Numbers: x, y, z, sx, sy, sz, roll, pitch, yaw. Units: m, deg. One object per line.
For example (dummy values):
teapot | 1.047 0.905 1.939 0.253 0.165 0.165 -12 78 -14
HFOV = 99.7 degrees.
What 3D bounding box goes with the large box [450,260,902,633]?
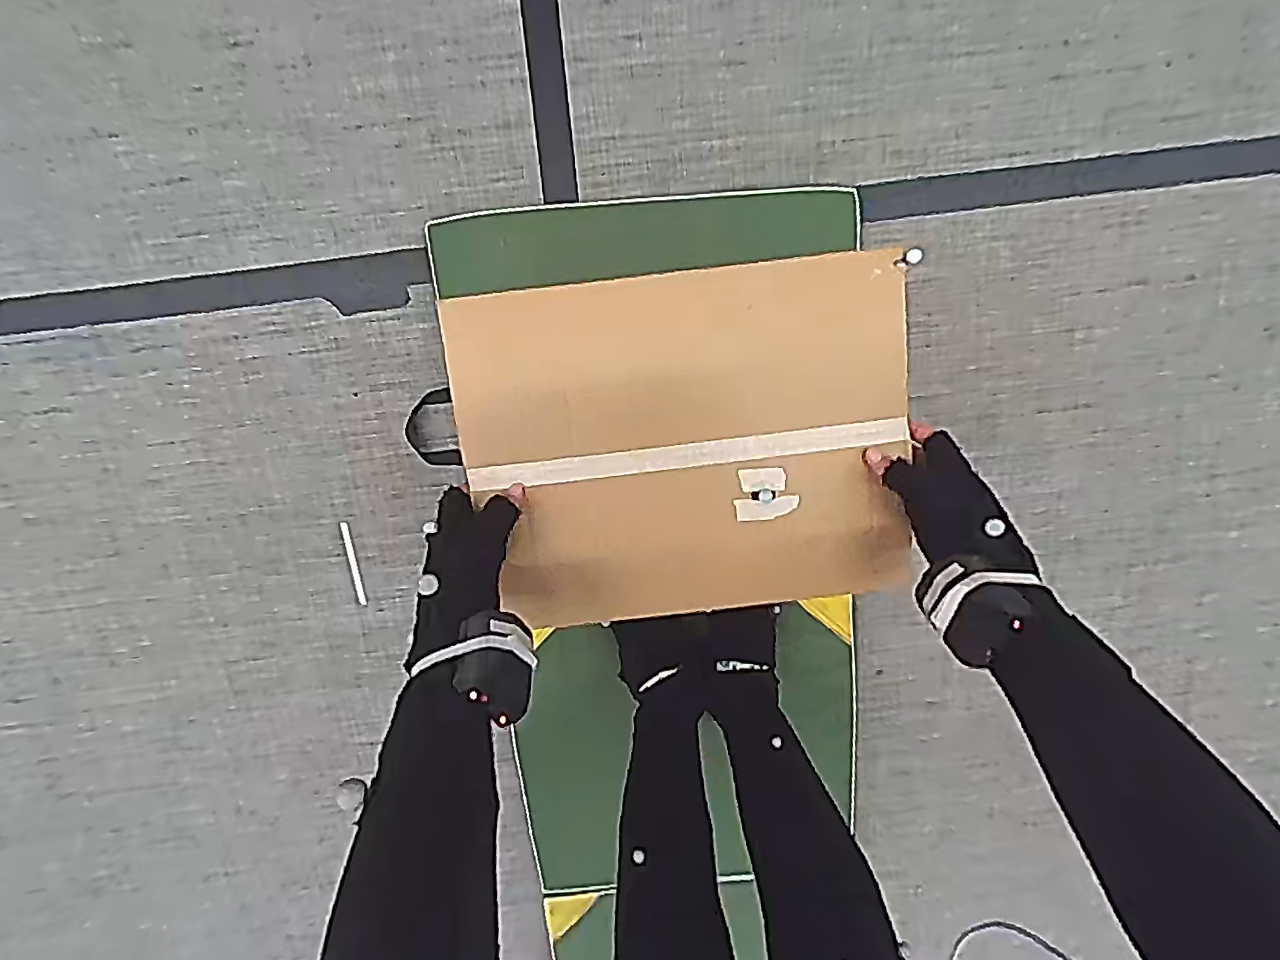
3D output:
large box | 0.040 -0.046 0.655 0.408 0.320 0.320 -7 100 0
